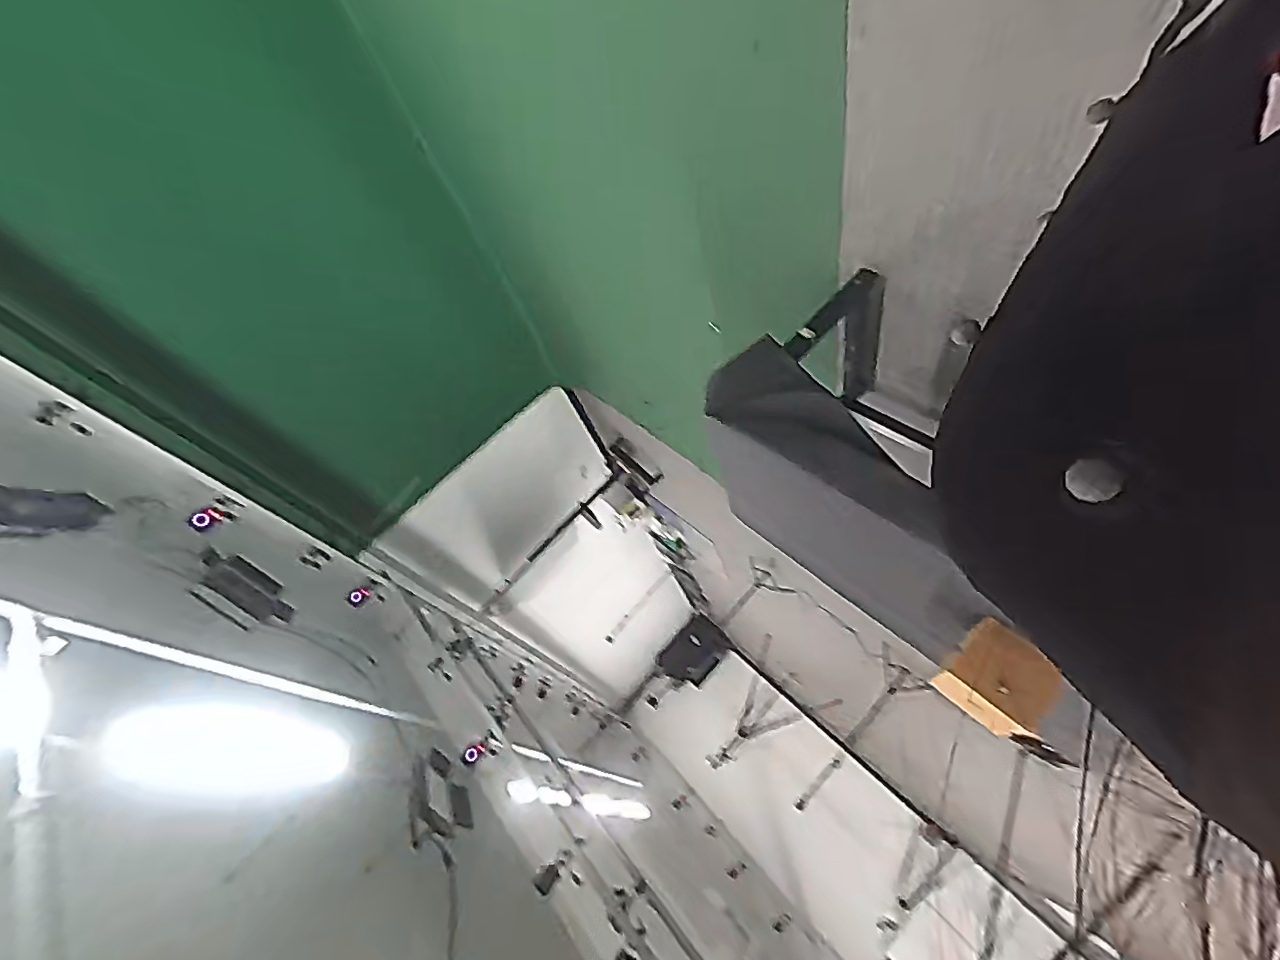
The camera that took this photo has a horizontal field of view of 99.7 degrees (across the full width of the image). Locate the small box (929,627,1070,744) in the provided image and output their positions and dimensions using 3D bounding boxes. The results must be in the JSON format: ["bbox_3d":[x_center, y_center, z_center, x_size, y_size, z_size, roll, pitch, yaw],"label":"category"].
[{"bbox_3d":[0.789,0.449,1.199,0.179,0.176,0.168,38,165,28],"label":"small box"}]
